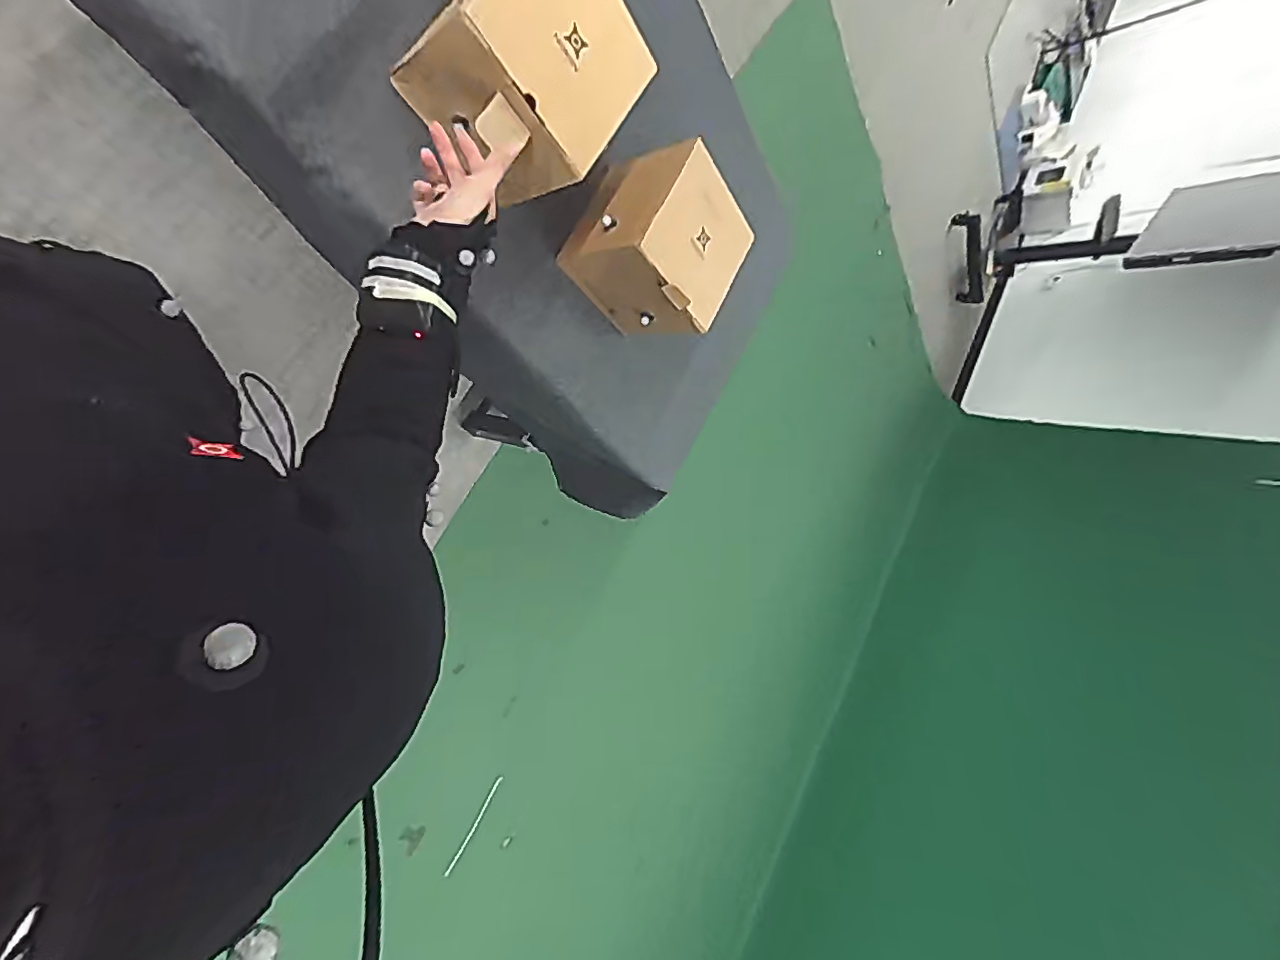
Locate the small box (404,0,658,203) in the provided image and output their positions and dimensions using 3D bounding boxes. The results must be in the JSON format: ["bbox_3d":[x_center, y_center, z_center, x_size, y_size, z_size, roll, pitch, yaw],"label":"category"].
[{"bbox_3d":[-0.117,-0.434,0.579,0.168,0.176,0.179,41,71,-43],"label":"small box"}]

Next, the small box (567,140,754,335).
[{"bbox_3d":[0.025,-0.320,0.753,0.168,0.176,0.179,39,72,-45],"label":"small box"}]
